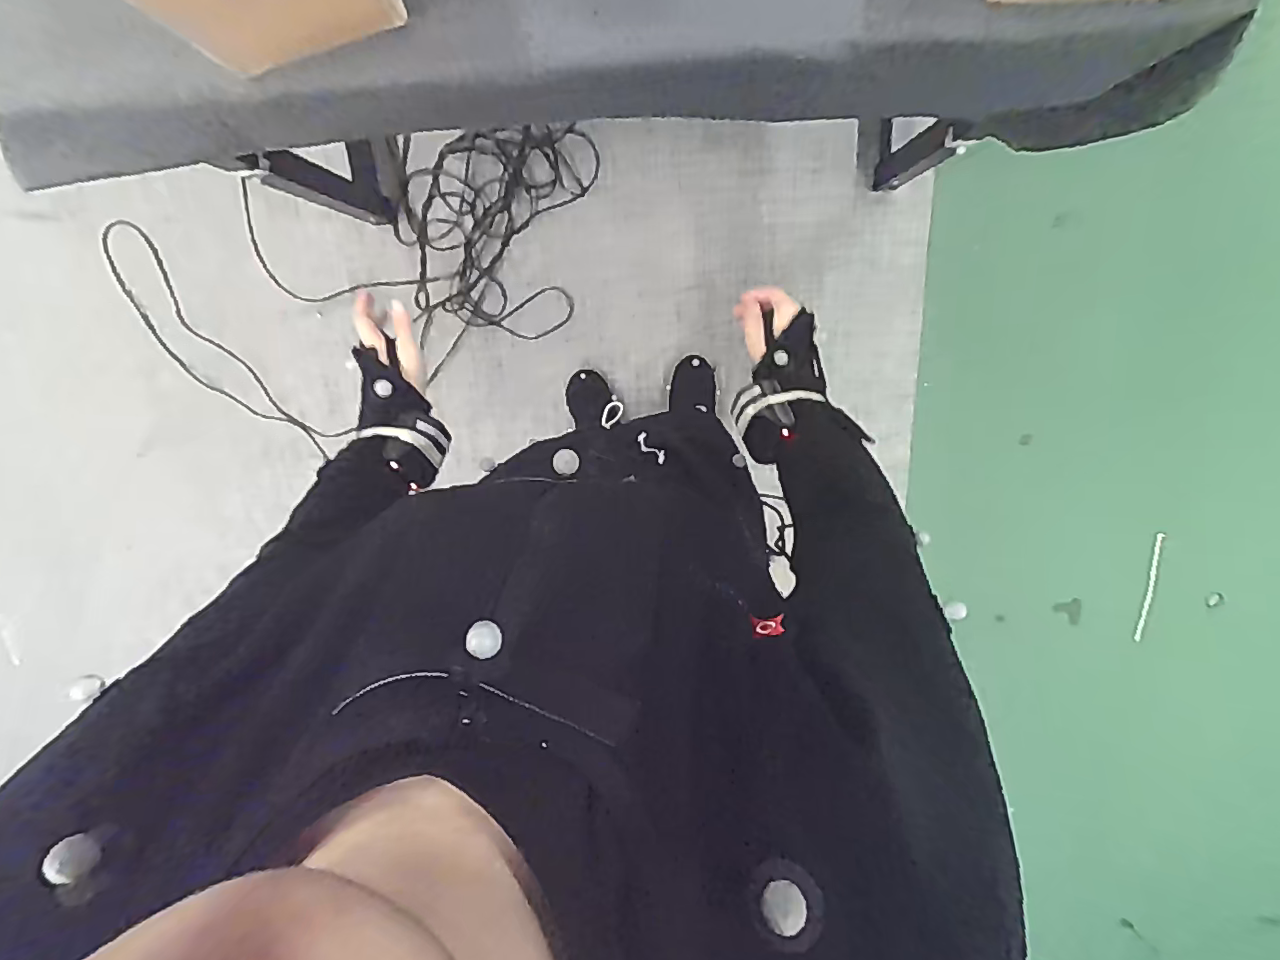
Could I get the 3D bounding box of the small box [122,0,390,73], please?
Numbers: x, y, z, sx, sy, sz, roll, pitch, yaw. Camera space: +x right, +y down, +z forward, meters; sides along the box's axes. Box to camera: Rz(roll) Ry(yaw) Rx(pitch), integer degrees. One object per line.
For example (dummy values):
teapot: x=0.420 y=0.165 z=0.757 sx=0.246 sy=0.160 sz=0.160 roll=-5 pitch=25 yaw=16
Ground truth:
small box: x=-0.320 y=-0.461 z=0.415 sx=0.179 sy=0.176 sz=0.168 roll=-14 pitch=104 yaw=5
